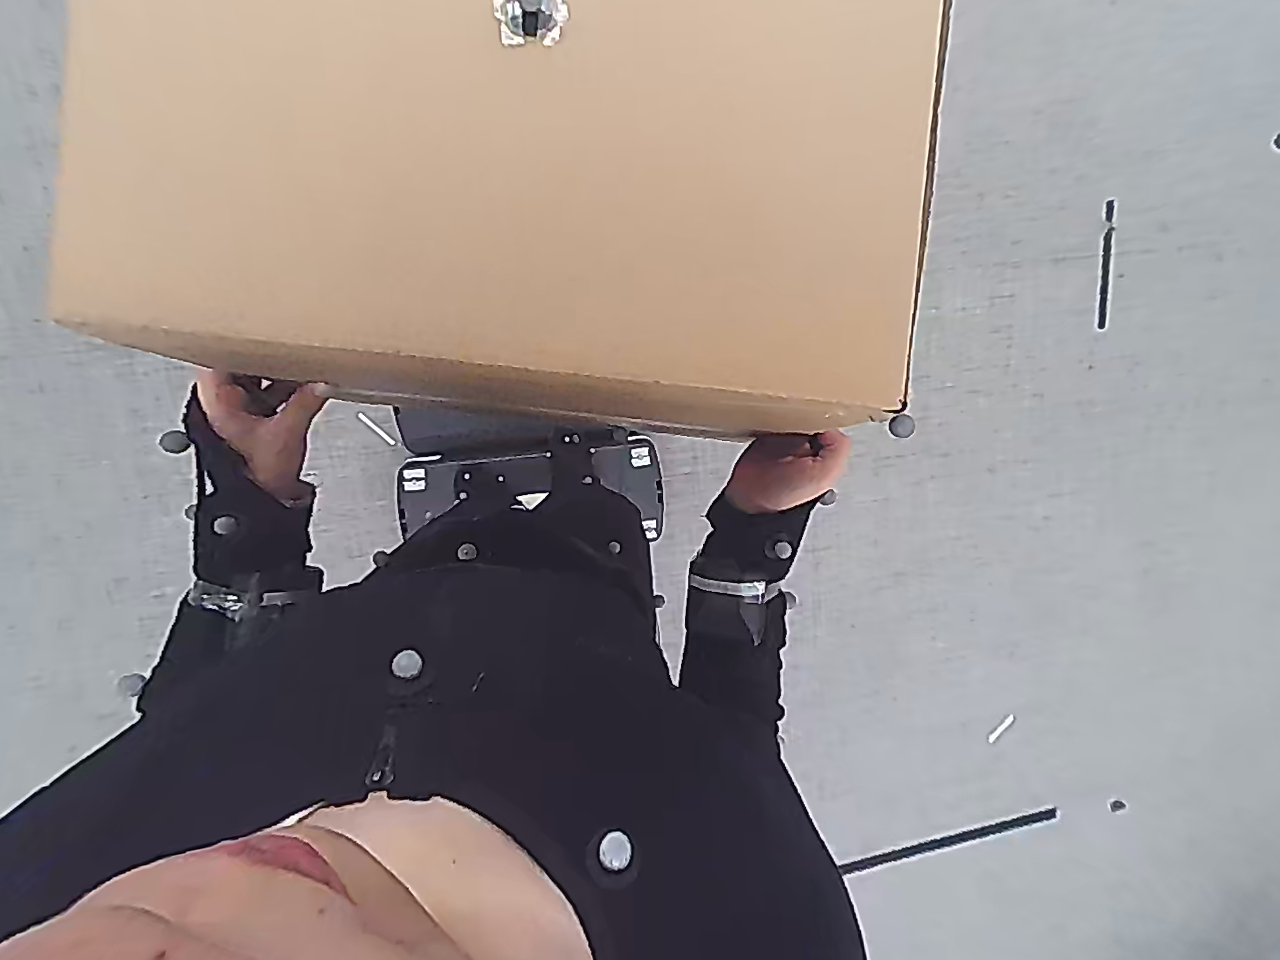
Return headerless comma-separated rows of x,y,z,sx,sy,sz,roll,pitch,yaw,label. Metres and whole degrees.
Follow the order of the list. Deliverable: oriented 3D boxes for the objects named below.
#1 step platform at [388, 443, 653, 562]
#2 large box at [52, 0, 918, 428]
-0.305,0.055,1.462,0.684,0.204,0.286,-1,99,-8,step platform
-0.072,-0.216,0.399,0.408,0.320,0.320,4,93,-3,large box
